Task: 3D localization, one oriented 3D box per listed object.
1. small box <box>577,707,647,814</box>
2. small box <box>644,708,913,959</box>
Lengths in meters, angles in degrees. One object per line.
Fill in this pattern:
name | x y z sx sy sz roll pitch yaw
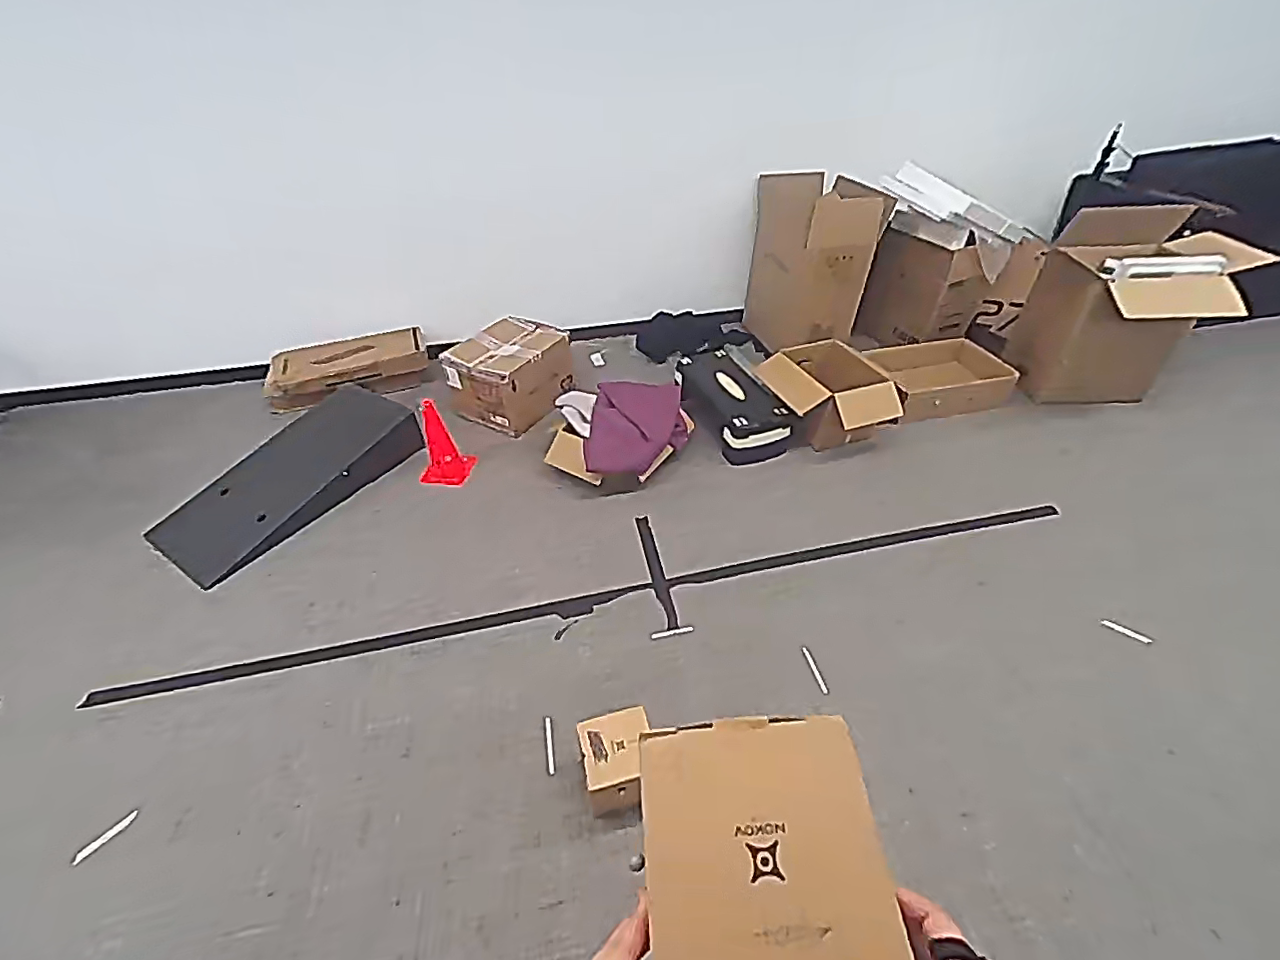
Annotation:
small box | -0.051 0.708 1.359 0.179 0.176 0.168 -11 42 -11
small box | 0.090 0.305 0.441 0.168 0.176 0.179 -5 52 1
